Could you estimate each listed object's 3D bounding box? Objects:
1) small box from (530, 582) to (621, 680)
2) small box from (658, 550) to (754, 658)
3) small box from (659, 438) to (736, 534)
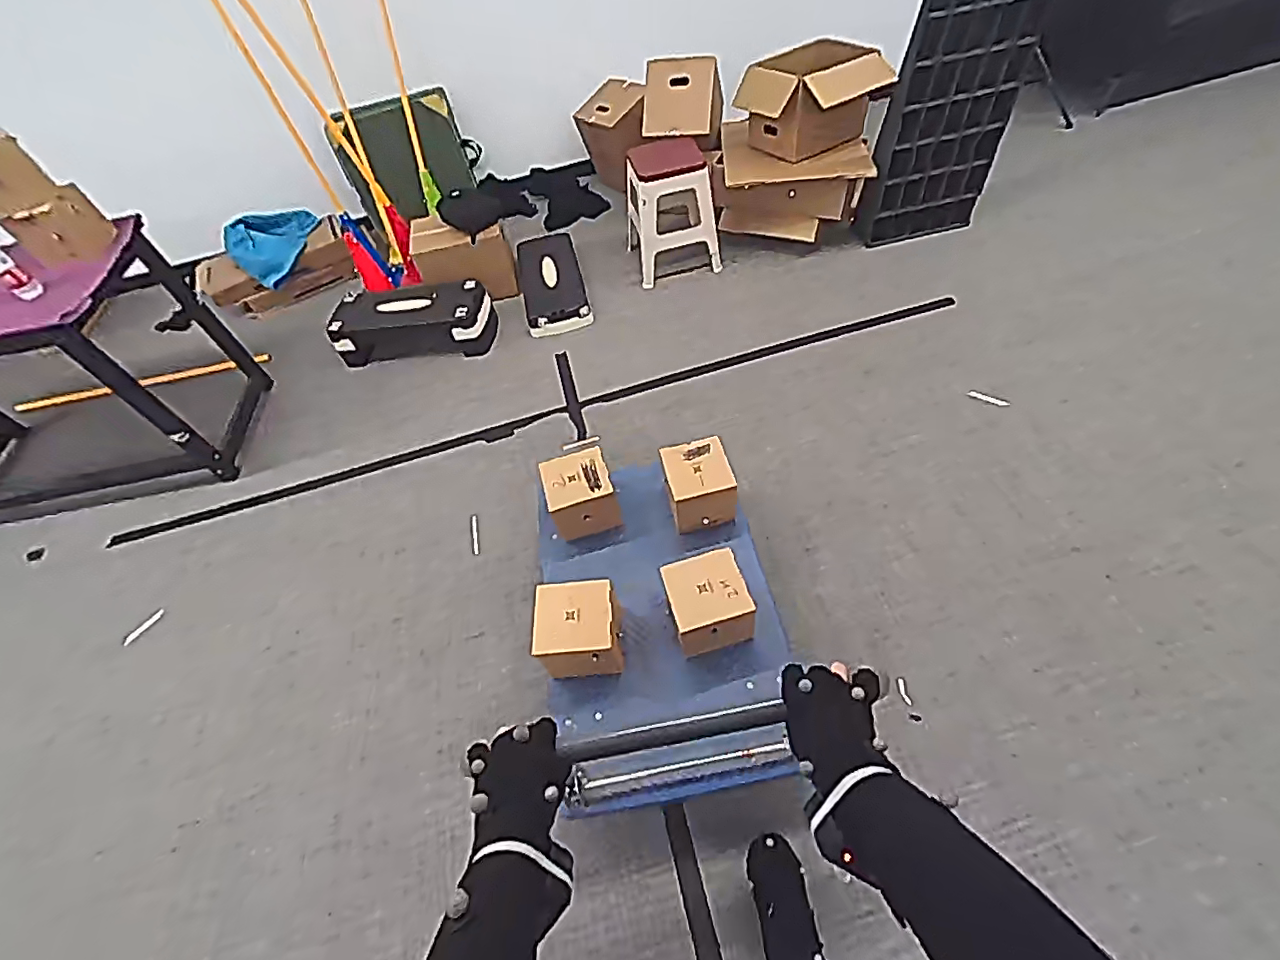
[{"bbox_3d":[-0.144,0.355,1.257,0.179,0.176,0.168,-6,53,3],"label":"small box"},{"bbox_3d":[0.154,0.293,1.257,0.179,0.176,0.168,-16,54,-3],"label":"small box"},{"bbox_3d":[0.153,0.018,1.458,0.168,0.176,0.179,-14,54,-2],"label":"small box"}]
